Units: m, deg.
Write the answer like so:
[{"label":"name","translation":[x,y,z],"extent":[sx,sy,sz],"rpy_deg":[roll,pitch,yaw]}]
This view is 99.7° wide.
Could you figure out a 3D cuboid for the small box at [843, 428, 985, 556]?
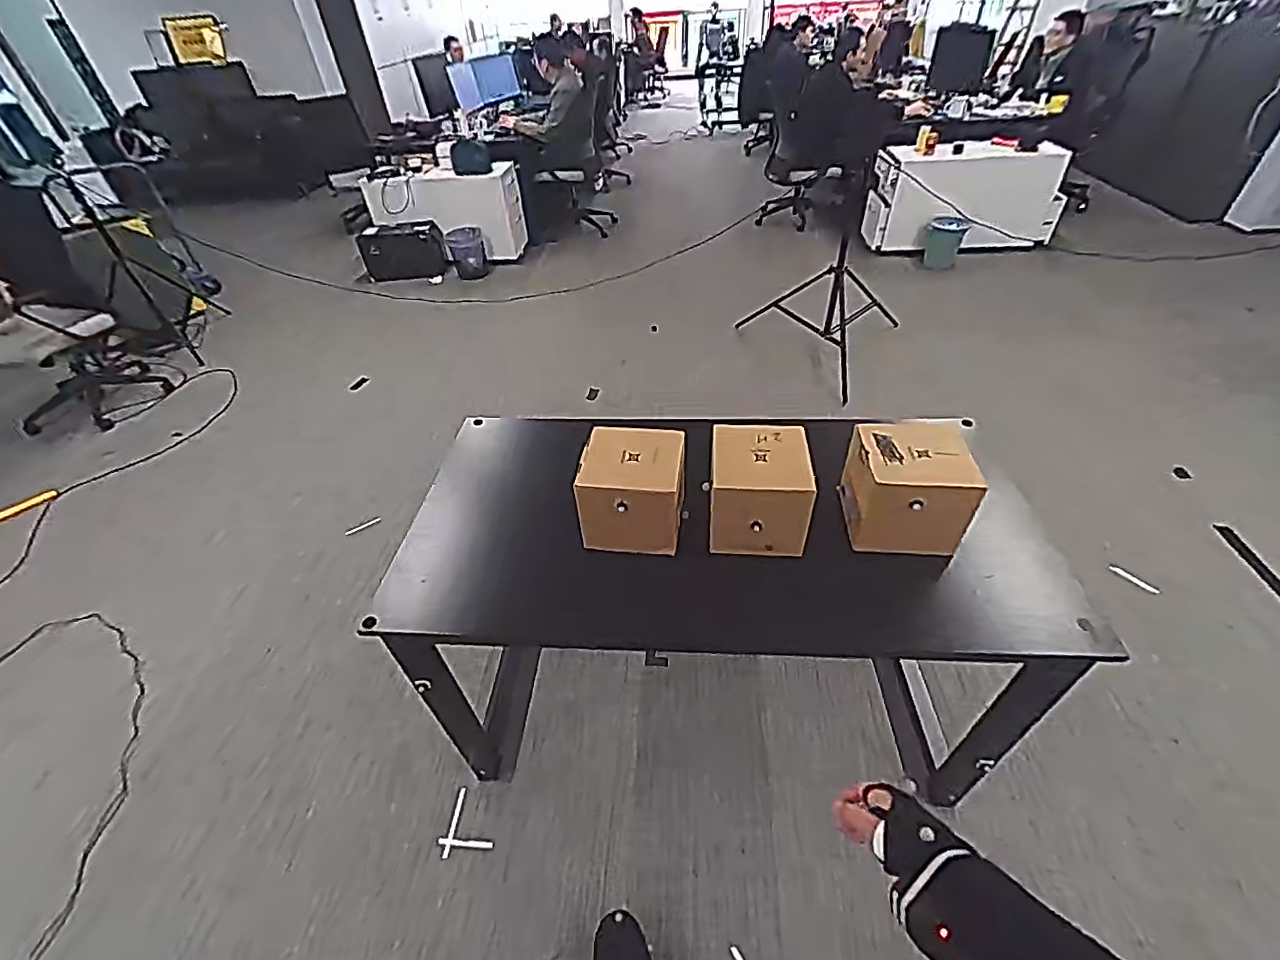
[{"label":"small box","translation":[0.477,0.023,0.980],"extent":[0.179,0.176,0.168],"rpy_deg":[3,43,6]}]

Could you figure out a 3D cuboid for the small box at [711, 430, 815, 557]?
[{"label":"small box","translation":[0.218,0.026,0.998],"extent":[0.168,0.176,0.179],"rpy_deg":[2,43,6]}]
